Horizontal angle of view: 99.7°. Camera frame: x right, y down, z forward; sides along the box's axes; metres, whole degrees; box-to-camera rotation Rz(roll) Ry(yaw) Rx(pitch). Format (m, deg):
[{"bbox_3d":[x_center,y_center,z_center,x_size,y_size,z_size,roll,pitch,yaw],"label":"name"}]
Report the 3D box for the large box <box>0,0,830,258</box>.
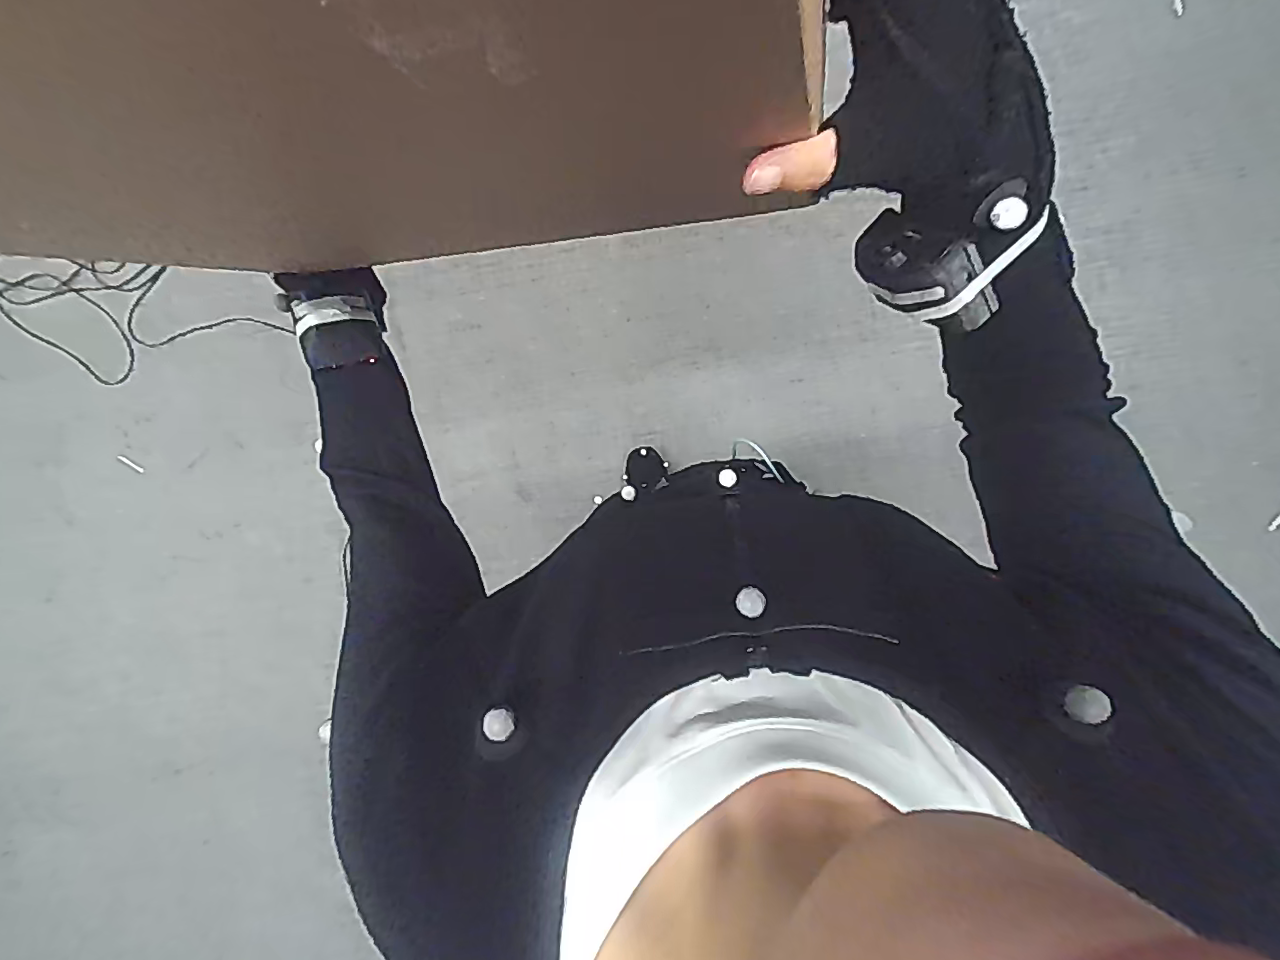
[{"bbox_3d":[-0.140,-0.284,0.204,0.408,0.320,0.320,1,108,18],"label":"large box"}]
